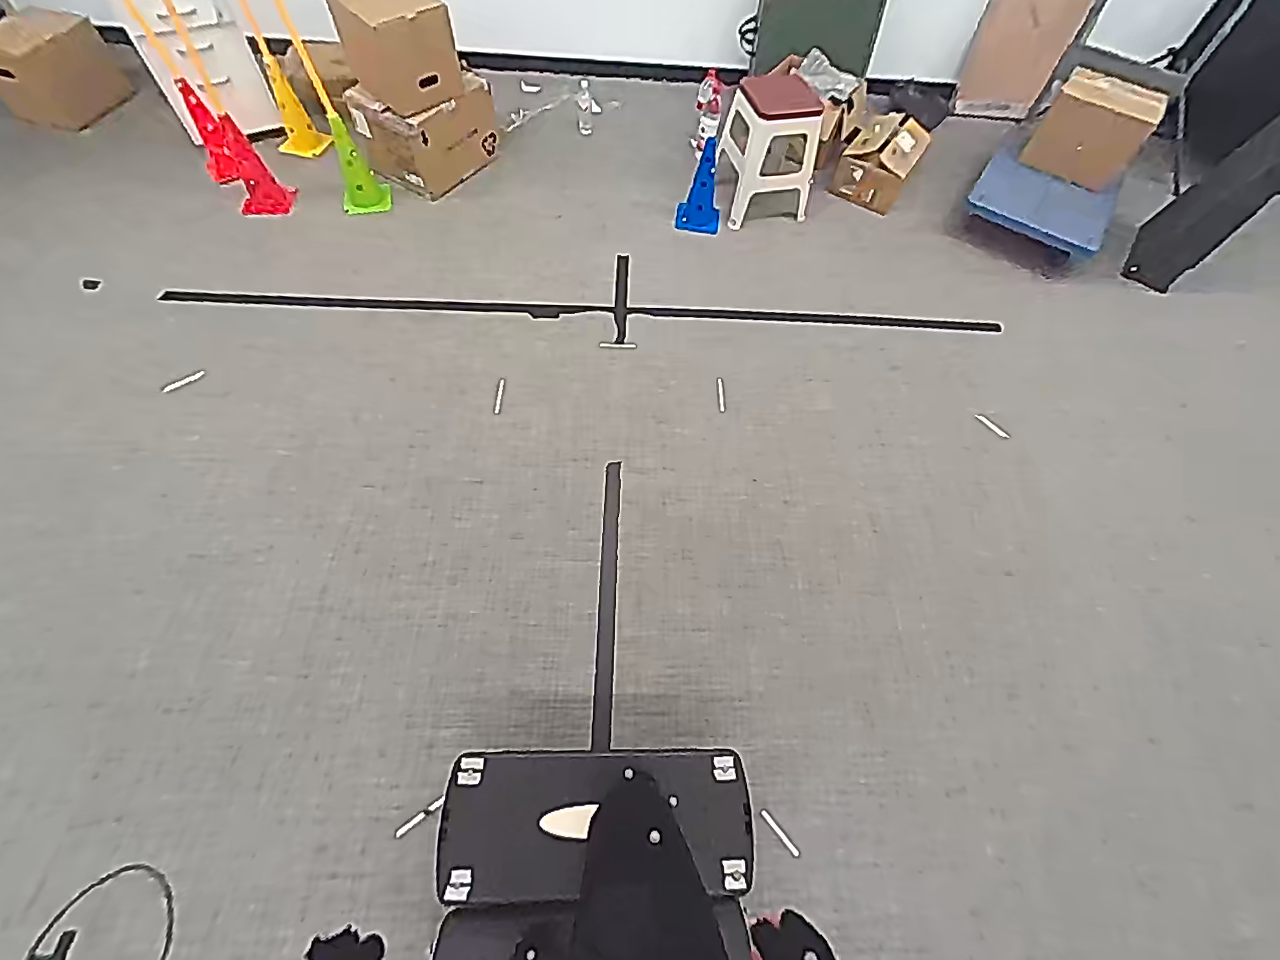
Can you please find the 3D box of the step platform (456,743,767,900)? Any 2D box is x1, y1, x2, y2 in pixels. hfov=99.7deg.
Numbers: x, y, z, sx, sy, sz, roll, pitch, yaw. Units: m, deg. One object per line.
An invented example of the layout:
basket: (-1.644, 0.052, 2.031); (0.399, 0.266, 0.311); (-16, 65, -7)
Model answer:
step platform: (-0.060, 0.767, 1.238); (0.684, 0.204, 0.286); (1, 60, -4)
